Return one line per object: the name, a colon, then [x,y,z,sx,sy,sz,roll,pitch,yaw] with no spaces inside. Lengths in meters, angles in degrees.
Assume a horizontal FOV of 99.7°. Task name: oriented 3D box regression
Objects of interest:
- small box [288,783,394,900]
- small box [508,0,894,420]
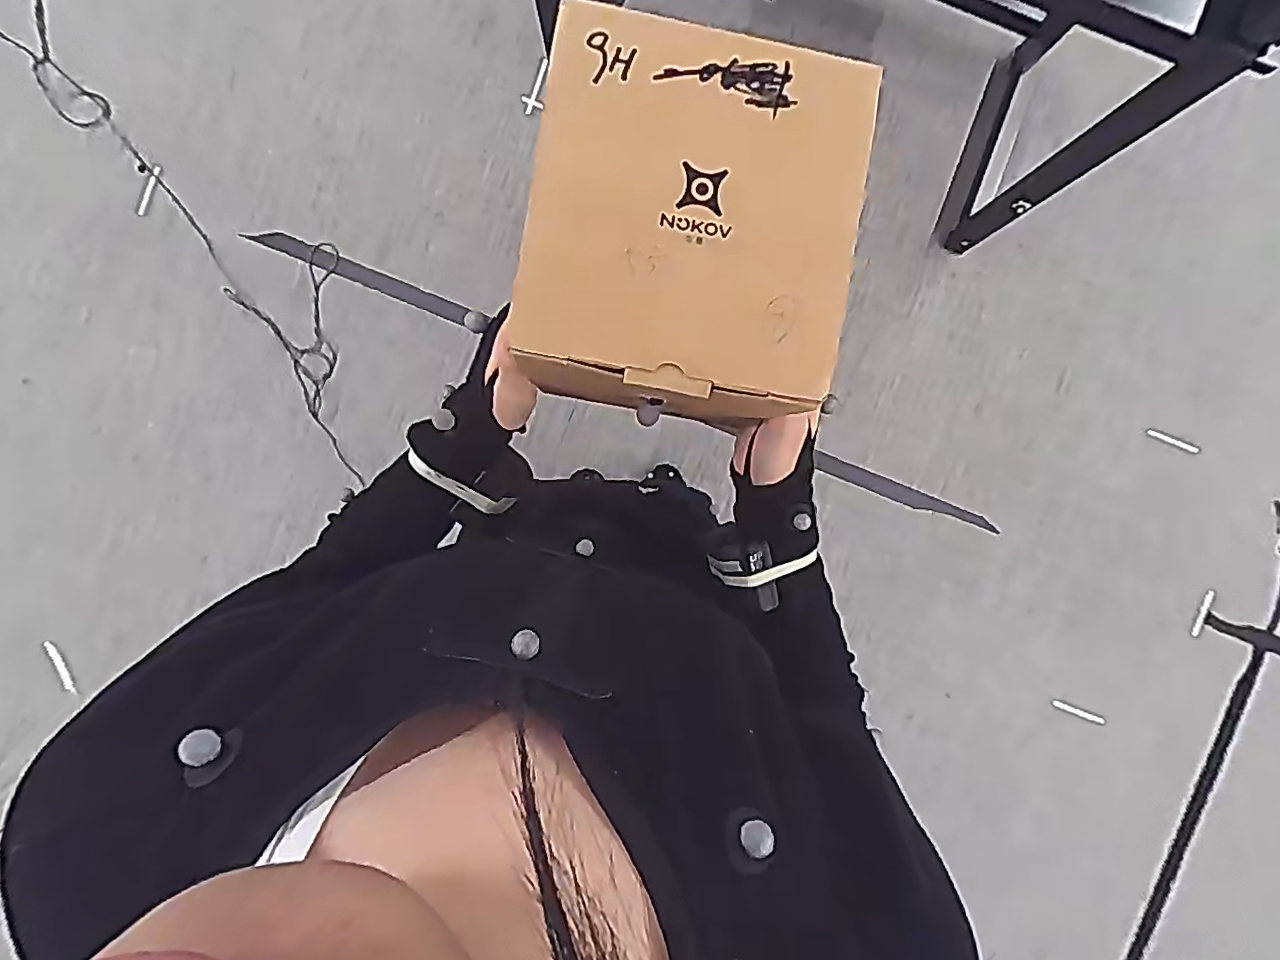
small box: [-0.770,0.933,1.413,0.168,0.176,0.179,15,92,-2]
small box: [0.025,-0.138,0.342,0.168,0.176,0.179,10,92,-5]
